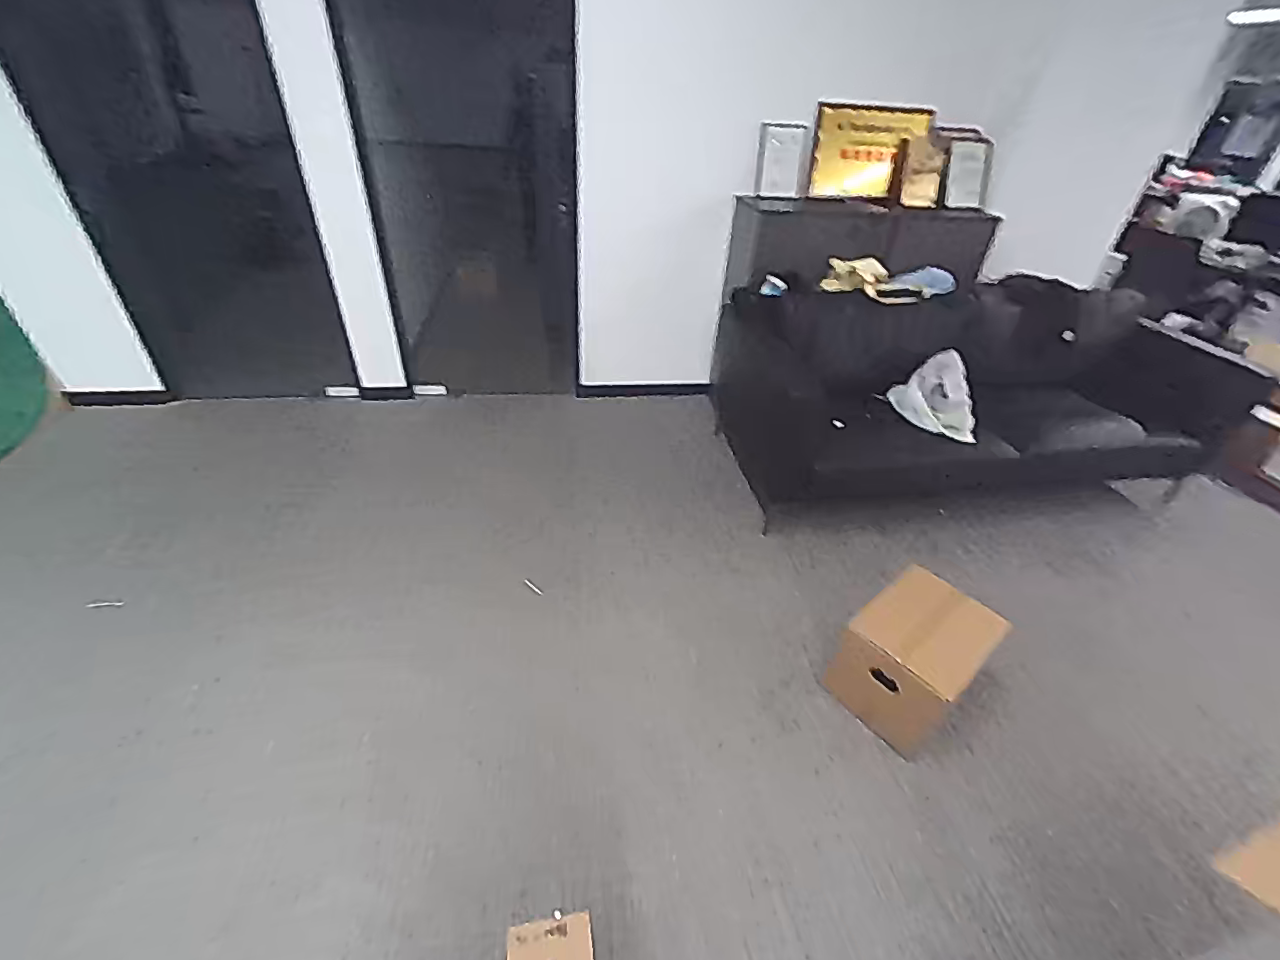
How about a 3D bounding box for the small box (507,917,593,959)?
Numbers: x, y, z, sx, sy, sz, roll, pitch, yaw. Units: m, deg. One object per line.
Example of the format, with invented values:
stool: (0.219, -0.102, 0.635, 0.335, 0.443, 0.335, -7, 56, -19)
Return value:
small box: (-0.173, 1.010, 1.070, 0.168, 0.176, 0.179, -3, 37, -11)
